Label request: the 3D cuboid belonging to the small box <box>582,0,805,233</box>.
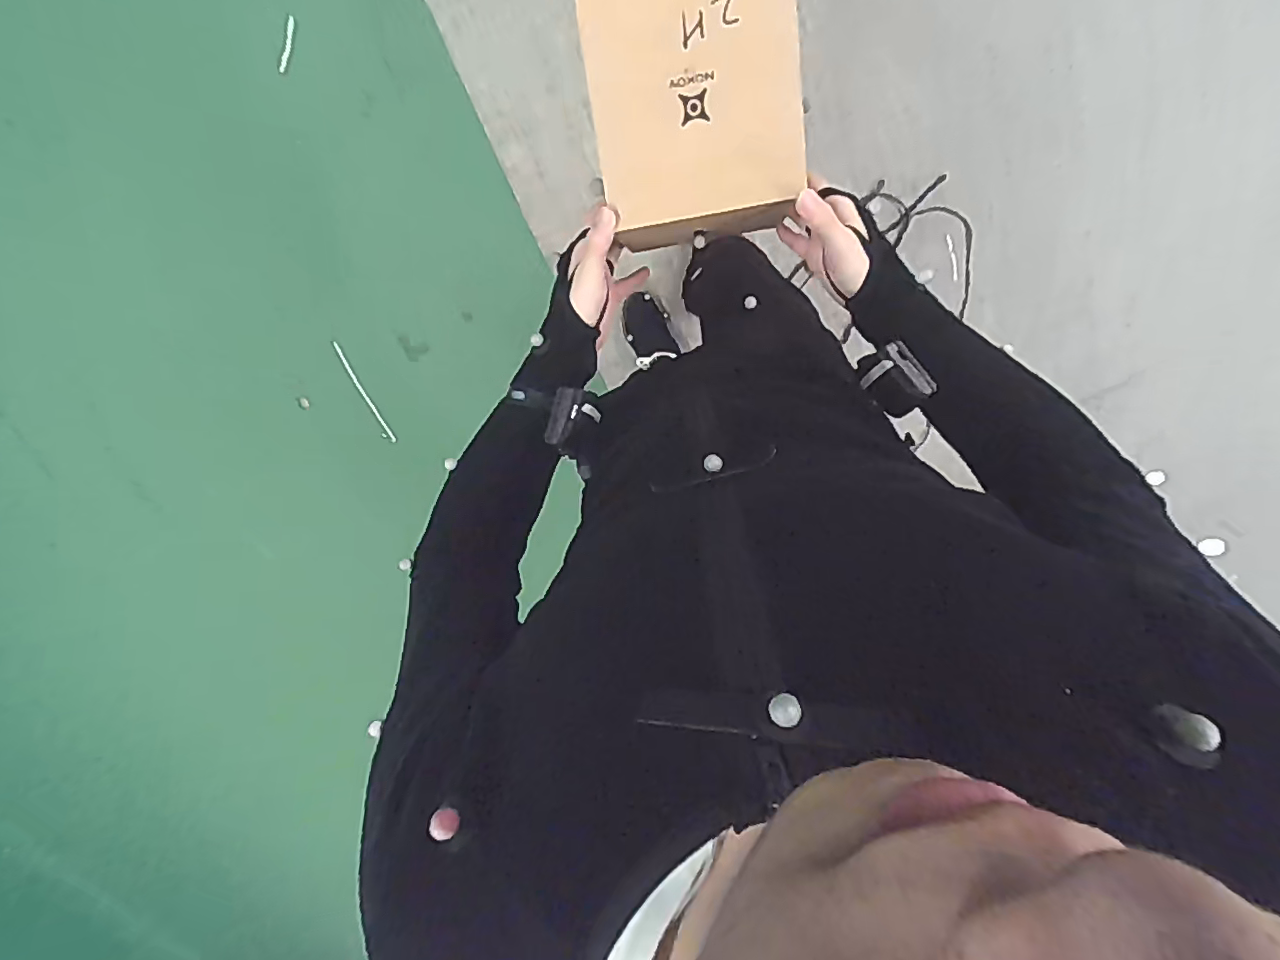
[{"bbox_3d":[0.053,-0.337,0.501,0.168,0.176,0.179,-6,106,8],"label":"small box"}]
